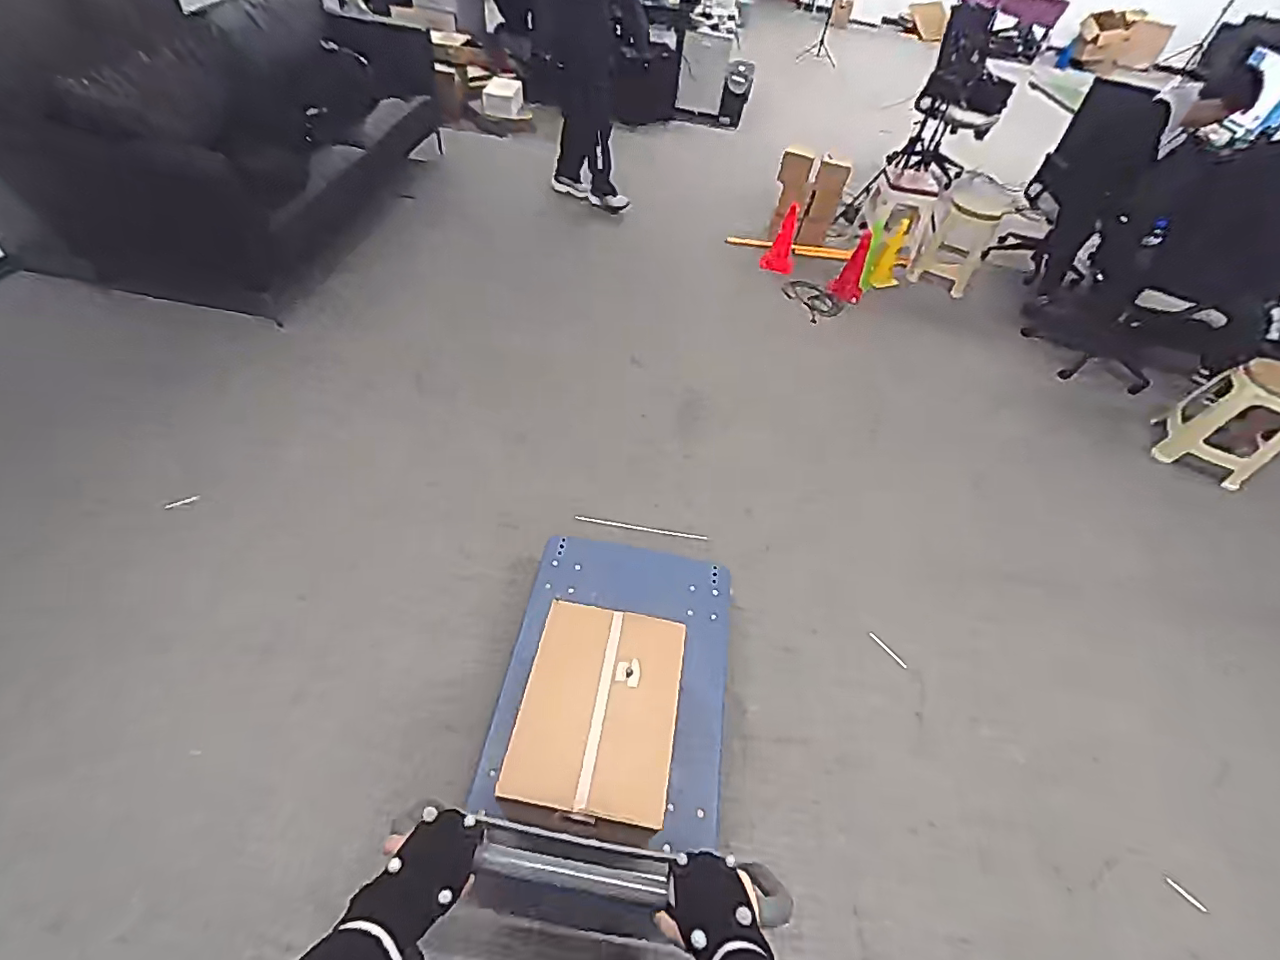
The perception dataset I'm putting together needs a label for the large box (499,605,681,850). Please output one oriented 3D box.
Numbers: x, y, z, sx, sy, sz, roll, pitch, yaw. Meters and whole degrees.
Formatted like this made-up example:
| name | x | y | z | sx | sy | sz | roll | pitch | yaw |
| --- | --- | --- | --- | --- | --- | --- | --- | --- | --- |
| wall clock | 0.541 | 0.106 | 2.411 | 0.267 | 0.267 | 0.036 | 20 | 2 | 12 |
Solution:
| name | x | y | z | sx | sy | sz | roll | pitch | yaw |
| --- | --- | --- | --- | --- | --- | --- | --- | --- | --- |
| large box | -0.096 | 0.559 | 1.226 | 0.320 | 0.320 | 0.408 | 11 | 48 | 2 |
